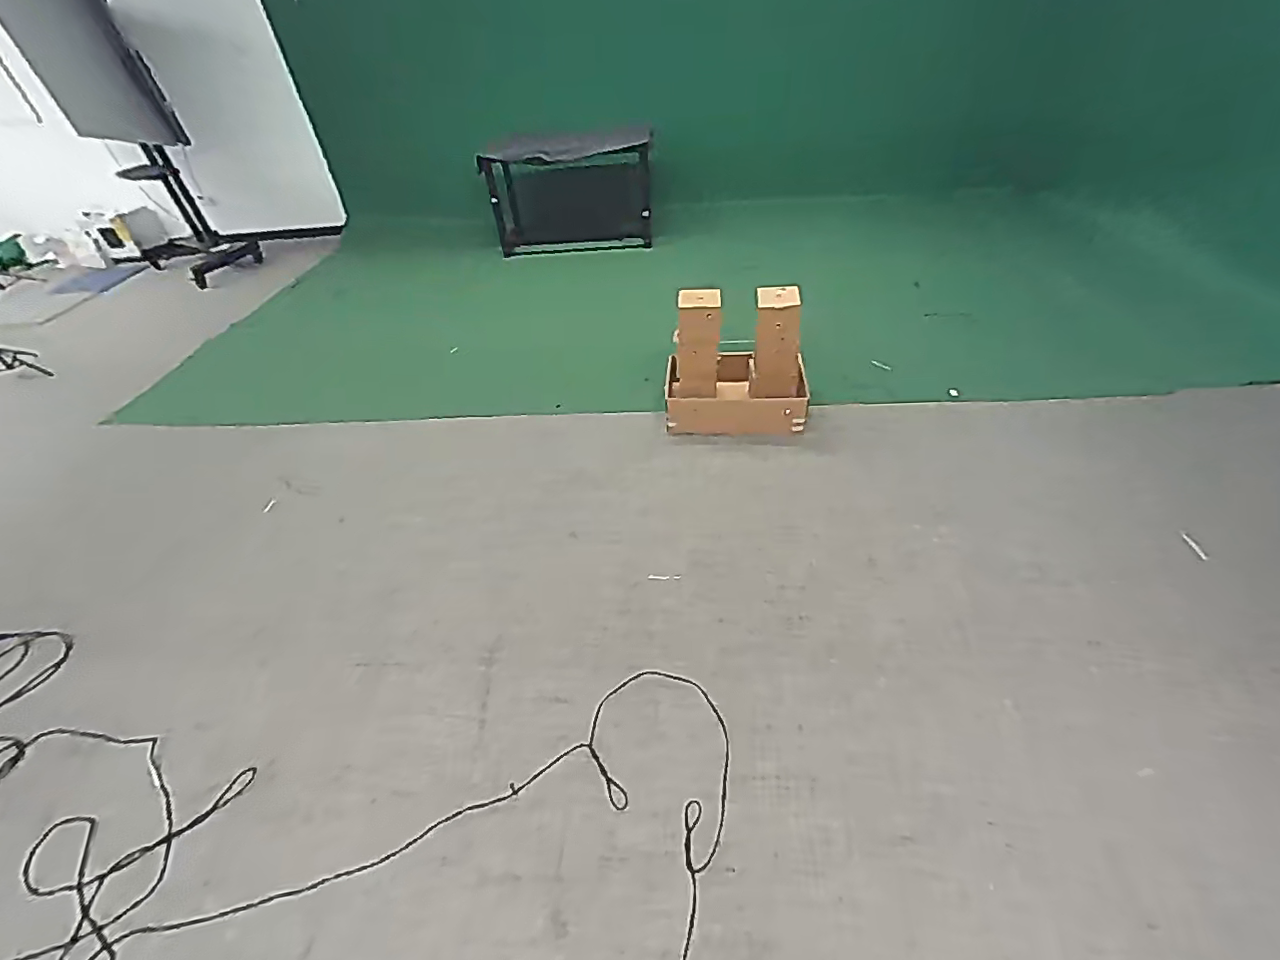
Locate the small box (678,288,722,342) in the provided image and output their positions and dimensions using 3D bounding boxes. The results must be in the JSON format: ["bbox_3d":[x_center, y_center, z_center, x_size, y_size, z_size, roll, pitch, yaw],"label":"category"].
[{"bbox_3d":[0.253,-0.696,2.286,0.179,0.176,0.168,0,43,6],"label":"small box"}]

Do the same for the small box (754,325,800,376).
[{"bbox_3d":[0.589,-0.566,2.352,0.179,0.176,0.168,-1,45,6],"label":"small box"}]

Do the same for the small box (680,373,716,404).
[{"bbox_3d":[0.272,-0.465,2.519,0.168,0.176,0.179,0,44,6],"label":"small box"}]

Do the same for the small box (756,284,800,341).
[{"bbox_3d":[0.570,-0.691,2.246,0.168,0.176,0.179,1,46,10],"label":"small box"}]

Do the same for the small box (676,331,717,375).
[{"bbox_3d":[0.254,-0.577,2.401,0.179,0.176,0.168,1,44,6],"label":"small box"}]
